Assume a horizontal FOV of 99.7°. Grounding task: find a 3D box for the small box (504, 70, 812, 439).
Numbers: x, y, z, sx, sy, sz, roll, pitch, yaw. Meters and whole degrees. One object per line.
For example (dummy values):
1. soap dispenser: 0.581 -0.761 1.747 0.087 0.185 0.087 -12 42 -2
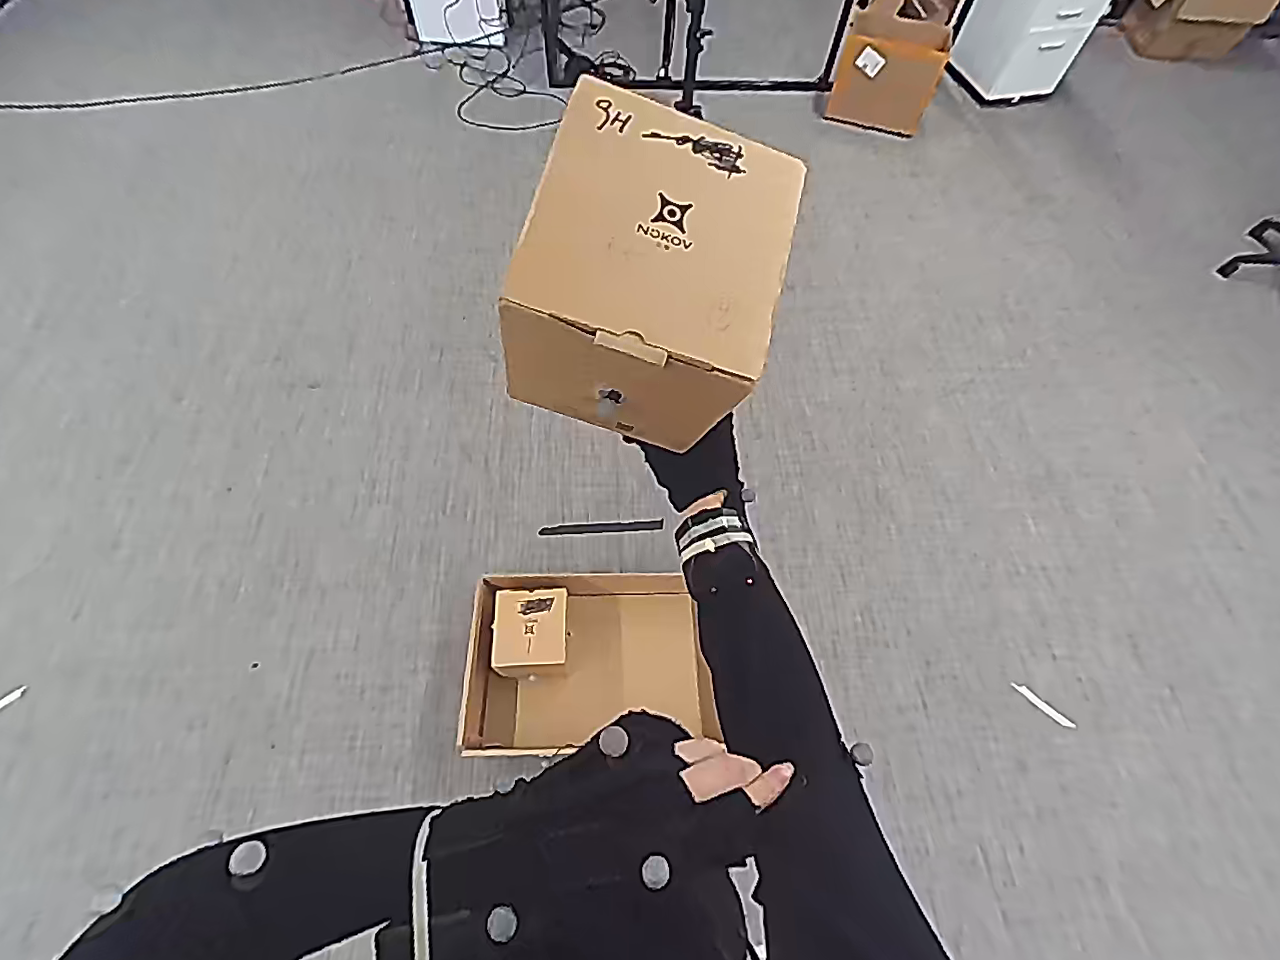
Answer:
1. small box: 0.005 -0.149 0.419 0.168 0.176 0.179 17 76 -8
